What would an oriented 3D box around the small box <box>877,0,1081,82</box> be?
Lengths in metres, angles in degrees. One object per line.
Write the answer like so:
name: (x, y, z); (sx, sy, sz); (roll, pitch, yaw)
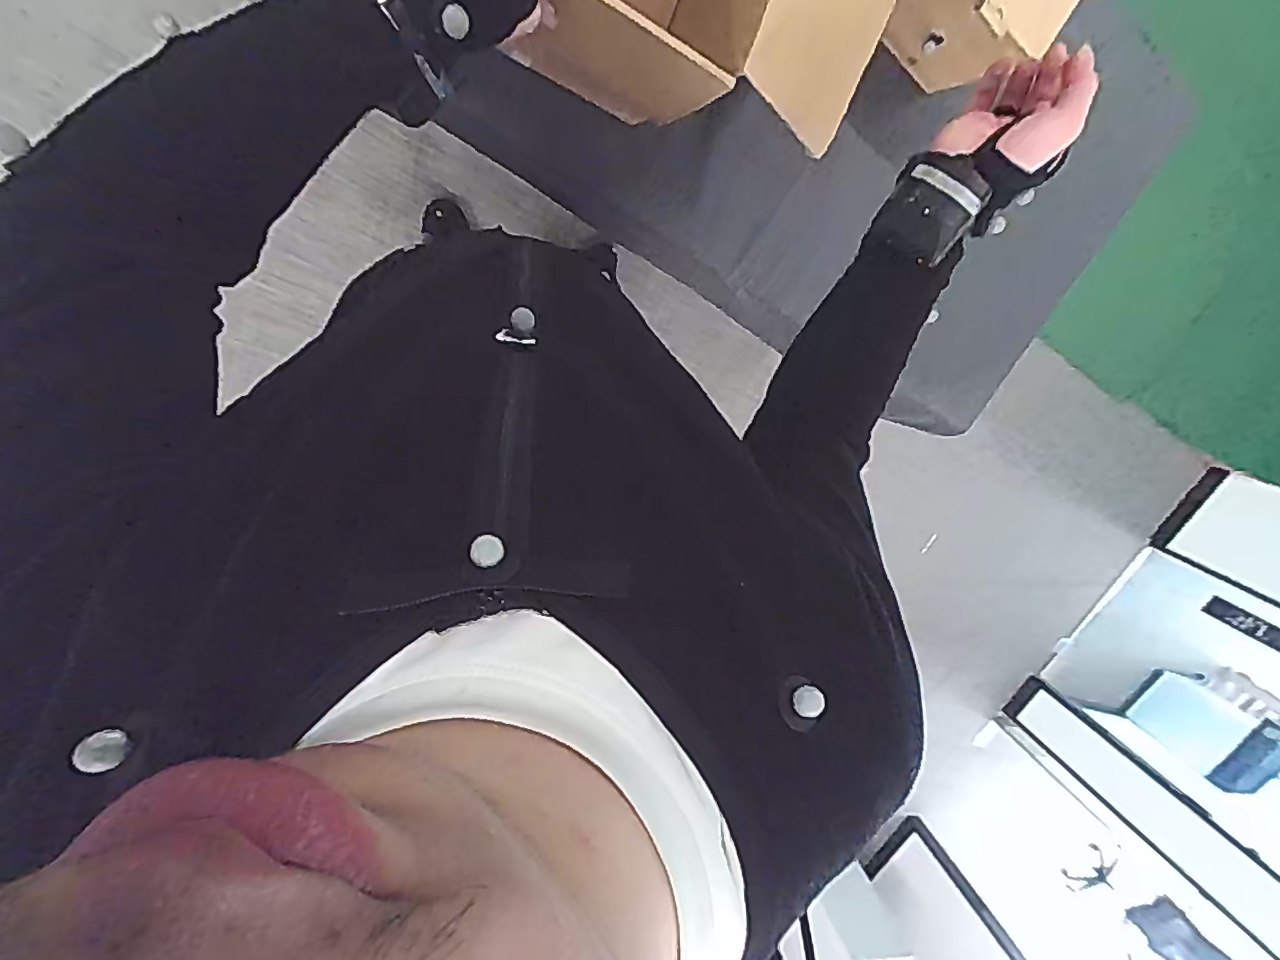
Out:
small box: (0.416, -0.618, 0.642); (0.168, 0.176, 0.179); (23, 108, -28)
